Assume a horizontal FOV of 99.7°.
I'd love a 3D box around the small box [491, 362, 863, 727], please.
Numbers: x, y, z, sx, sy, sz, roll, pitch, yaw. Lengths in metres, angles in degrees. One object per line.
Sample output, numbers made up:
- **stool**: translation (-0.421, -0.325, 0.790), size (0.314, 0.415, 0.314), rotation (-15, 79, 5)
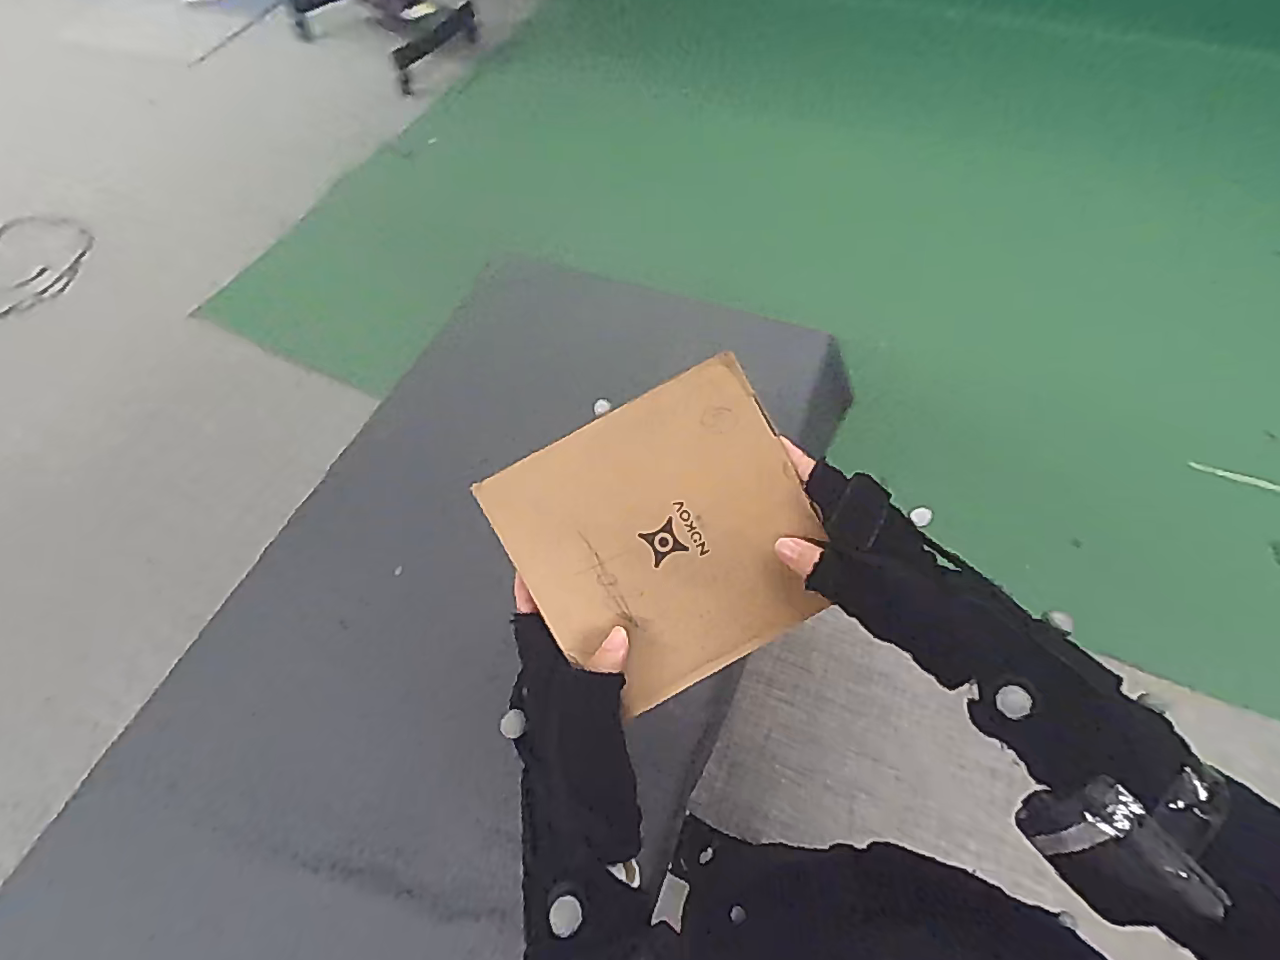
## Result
- **small box**: translation (0.021, 0.036, 0.401), size (0.179, 0.176, 0.168), rotation (-28, 91, 0)
